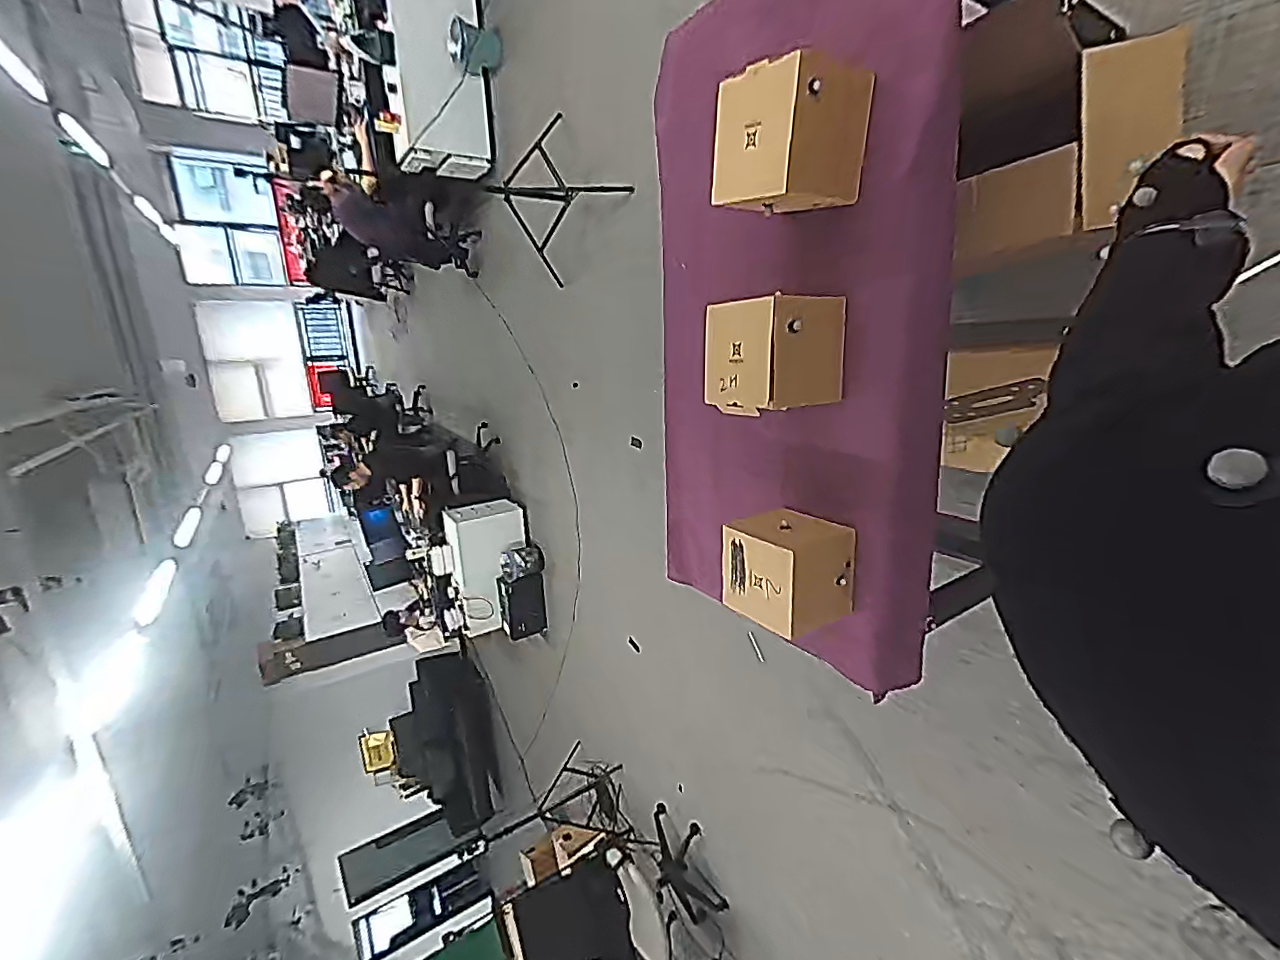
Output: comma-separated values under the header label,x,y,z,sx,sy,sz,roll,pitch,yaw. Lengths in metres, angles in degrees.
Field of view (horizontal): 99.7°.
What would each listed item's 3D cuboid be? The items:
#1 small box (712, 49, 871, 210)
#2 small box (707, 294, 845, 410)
label,x,y,z,sx,sy,sz,roll,pitch,yaw
small box,0.232,-0.525,0.842,0.168,0.176,0.179,28,123,52
small box,0.234,-0.221,0.937,0.168,0.176,0.179,19,116,57
